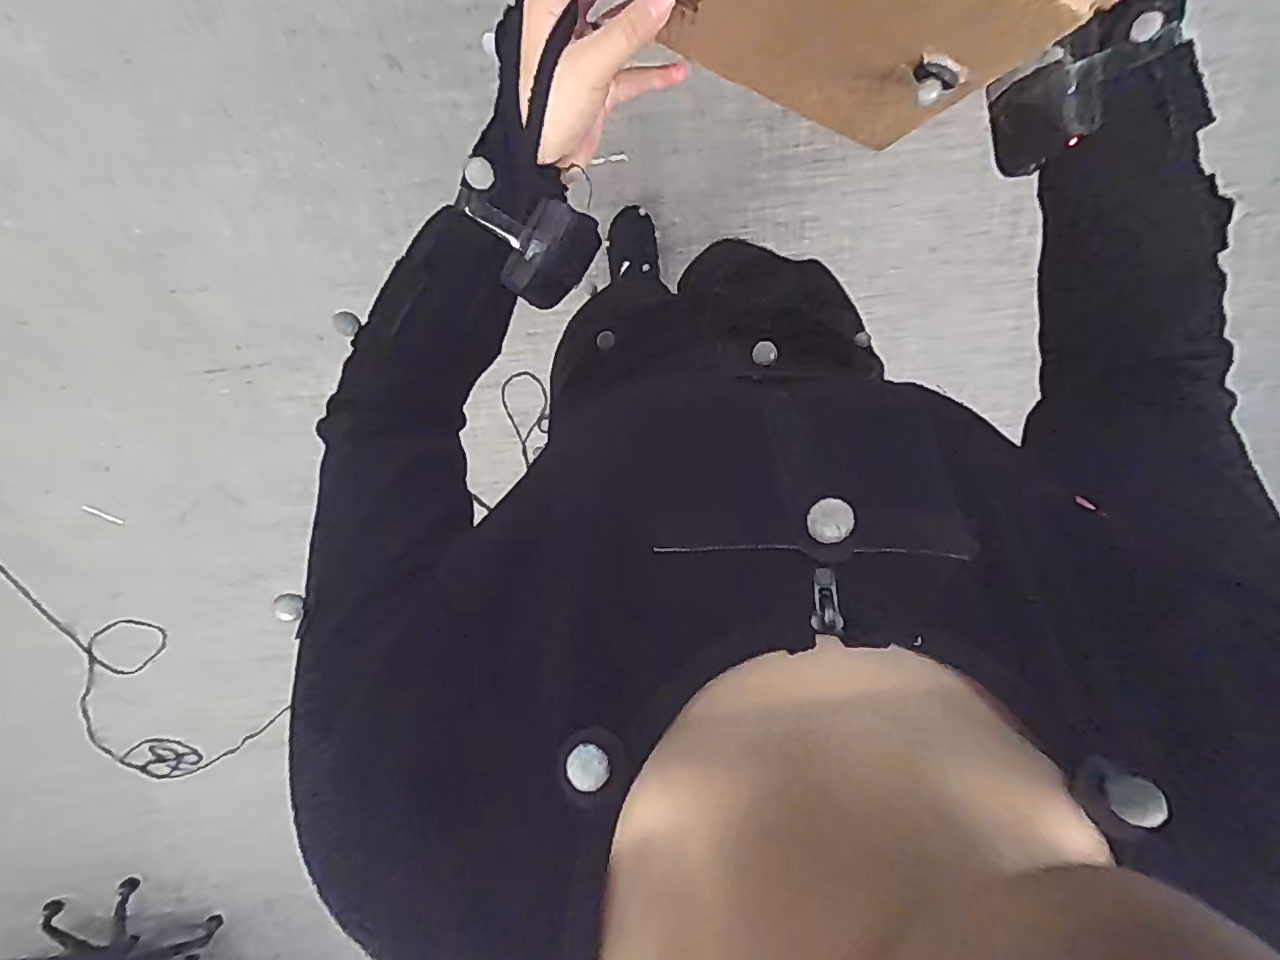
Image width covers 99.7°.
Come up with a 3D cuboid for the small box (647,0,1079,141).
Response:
[{"bbox_3d":[0.112,-0.304,0.246,0.176,0.168,0.179,19,105,-7],"label":"small box"}]
